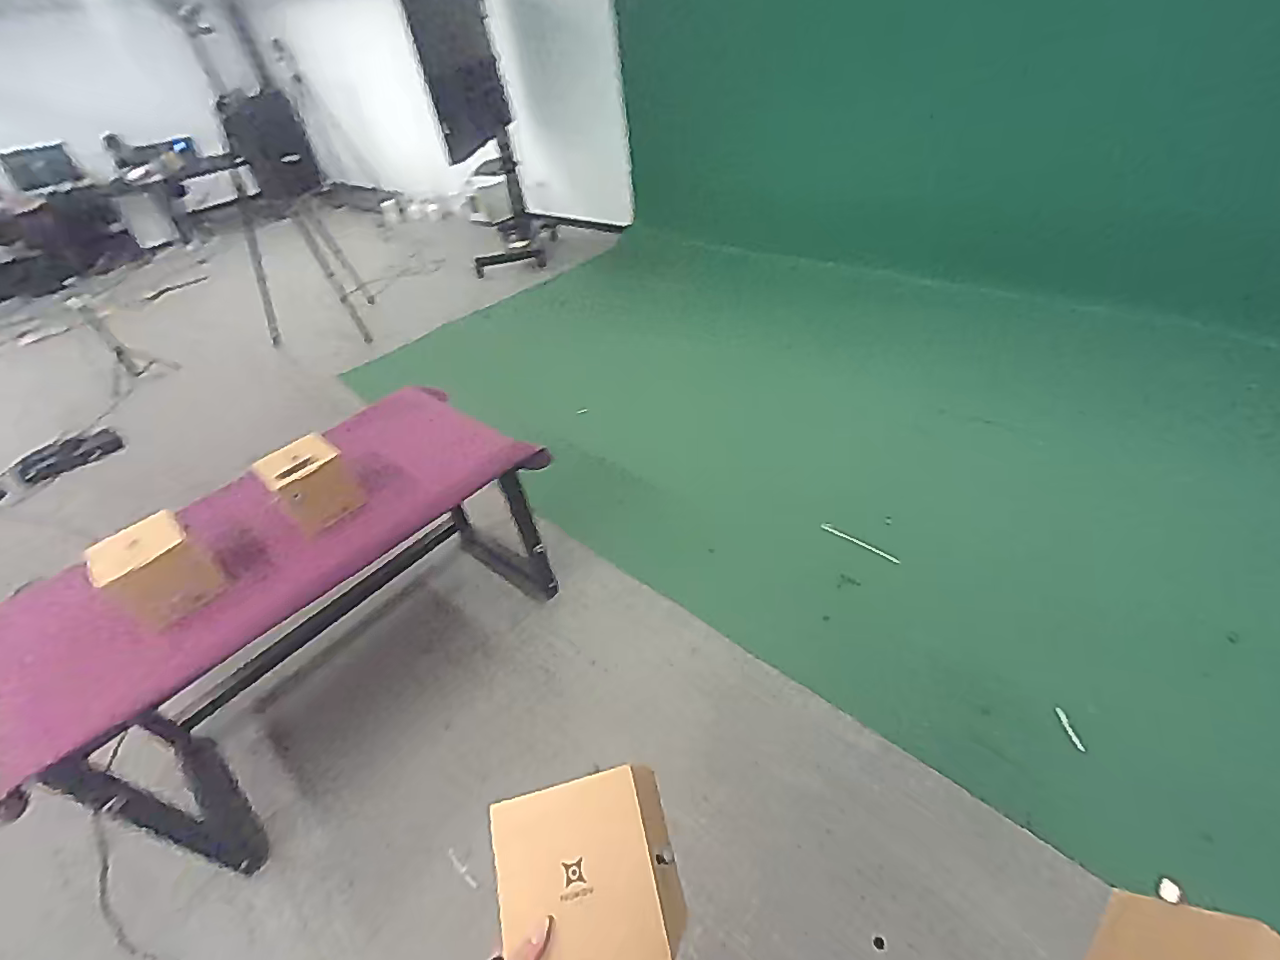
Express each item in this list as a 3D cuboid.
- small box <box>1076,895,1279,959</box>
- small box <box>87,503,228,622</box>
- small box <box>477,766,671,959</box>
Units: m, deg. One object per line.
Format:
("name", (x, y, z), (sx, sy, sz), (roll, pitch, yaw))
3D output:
("small box", (0.509, 0.510, 0.464), (0.168, 0.176, 0.179), (40, 68, 19))
("small box", (-1.096, 0.190, 1.235), (0.179, 0.176, 0.168), (28, 53, 34))
("small box", (-0.069, 0.442, 0.613), (0.168, 0.176, 0.179), (-16, 62, 0))
